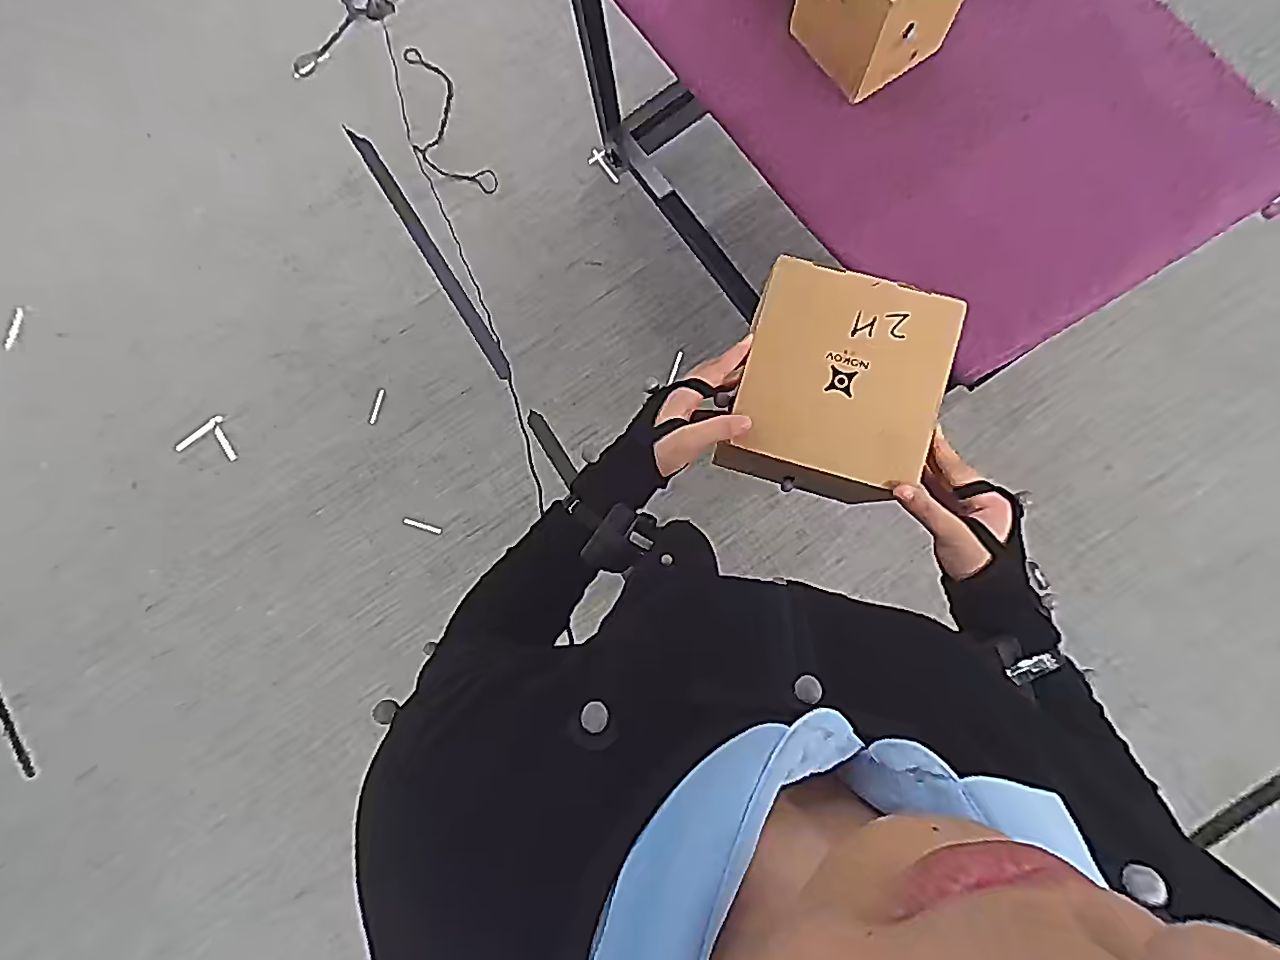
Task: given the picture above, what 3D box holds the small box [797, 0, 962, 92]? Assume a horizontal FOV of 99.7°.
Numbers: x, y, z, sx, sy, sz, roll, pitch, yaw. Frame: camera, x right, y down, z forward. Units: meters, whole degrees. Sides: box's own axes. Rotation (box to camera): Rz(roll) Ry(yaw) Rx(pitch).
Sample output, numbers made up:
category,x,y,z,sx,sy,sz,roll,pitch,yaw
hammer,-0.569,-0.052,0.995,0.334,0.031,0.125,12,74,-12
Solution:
category,x,y,z,sx,sy,sz,roll,pitch,yaw
small box,0.354,-0.712,0.782,0.168,0.176,0.179,-33,81,0
